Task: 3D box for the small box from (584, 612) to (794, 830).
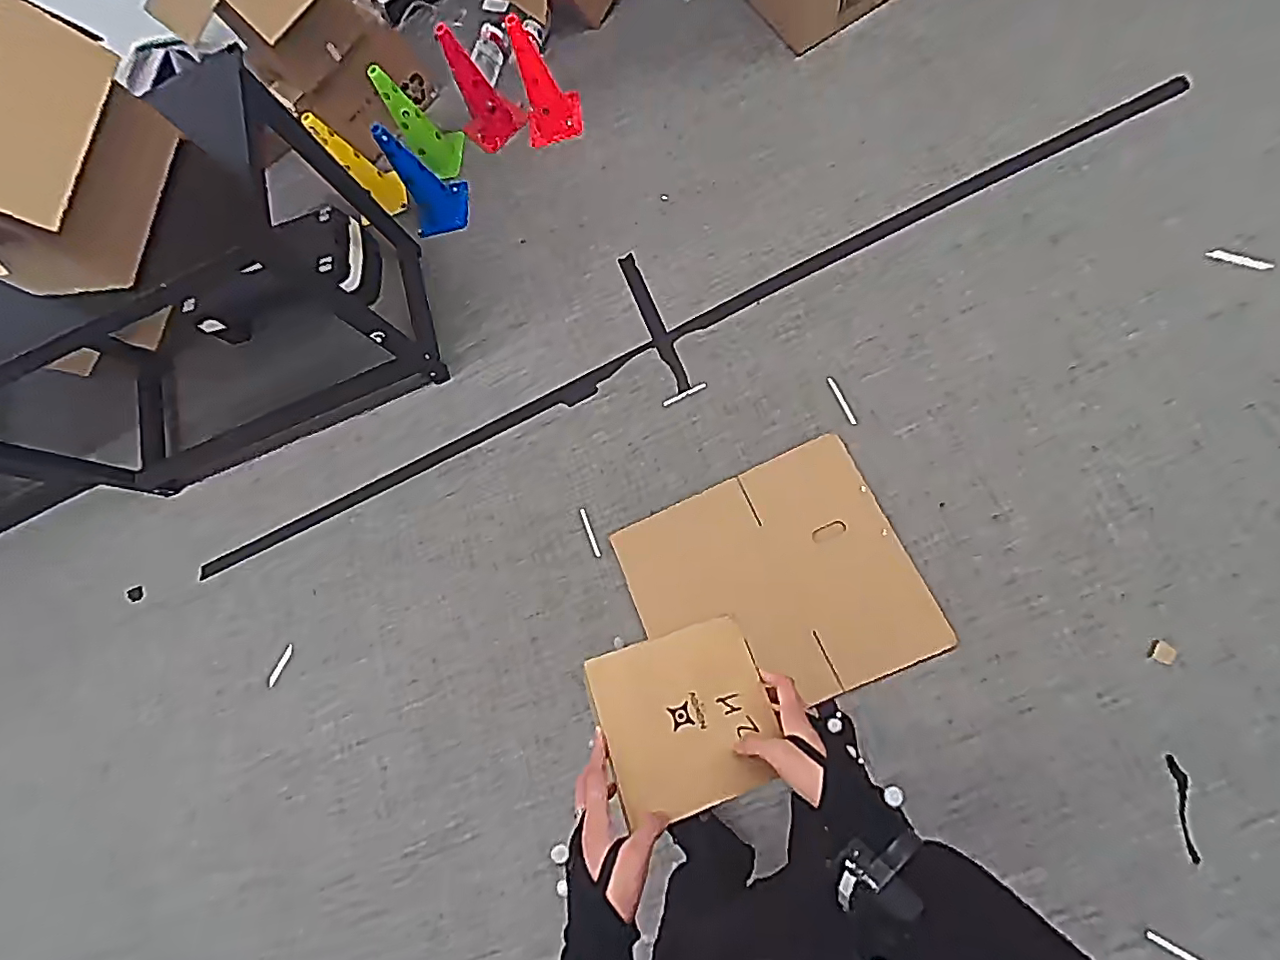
[{"bbox_3d":[0.041,0.271,0.617,0.179,0.176,0.168,-14,66,-13],"label":"small box"}]
